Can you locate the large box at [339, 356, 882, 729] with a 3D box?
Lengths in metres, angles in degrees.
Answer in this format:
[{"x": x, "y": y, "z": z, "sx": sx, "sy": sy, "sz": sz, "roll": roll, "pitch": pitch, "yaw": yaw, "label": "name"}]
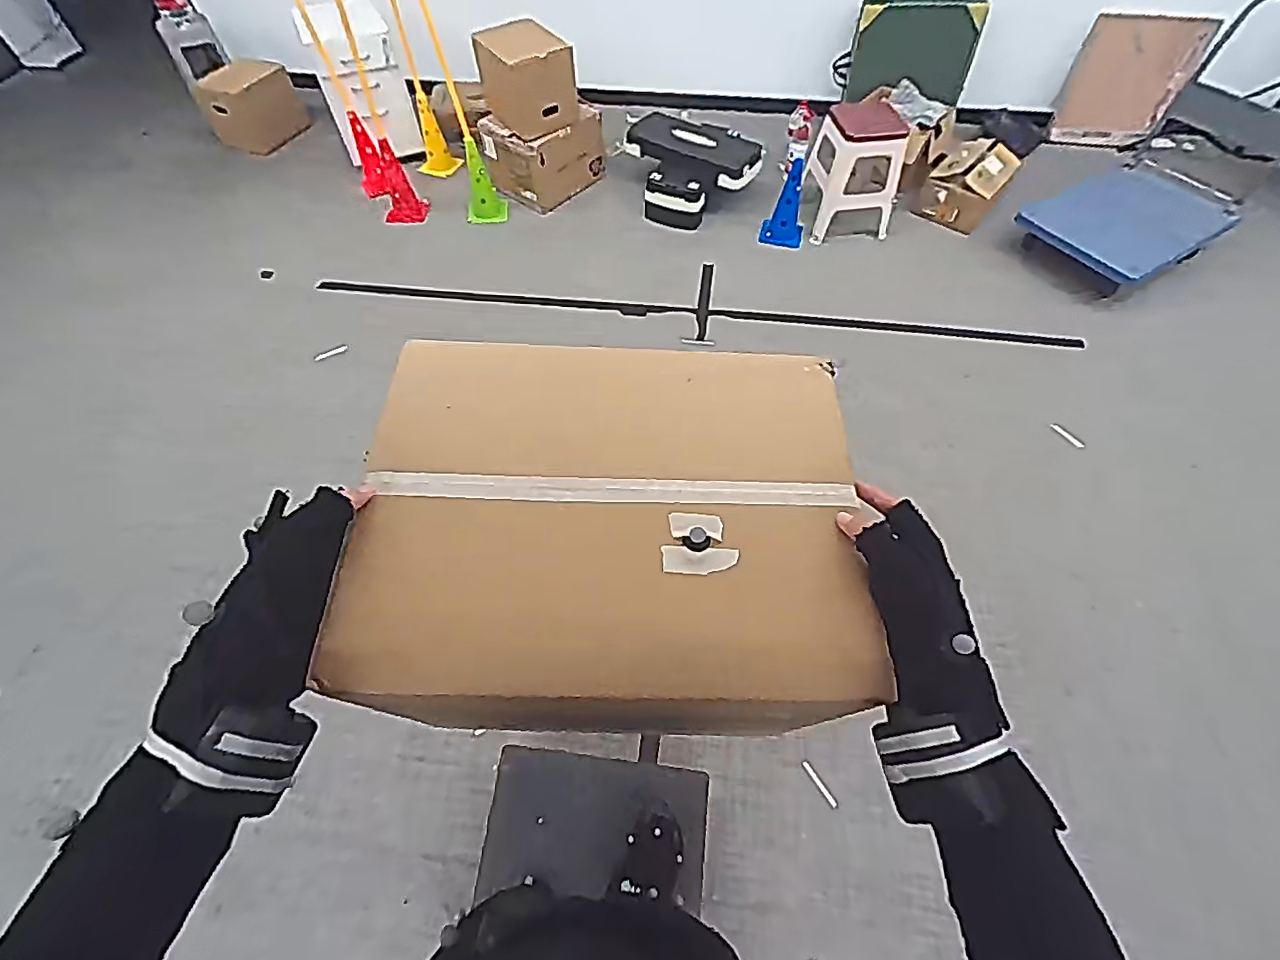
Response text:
[{"x": -0.026, "y": 0.089, "z": 0.591, "sx": 0.408, "sy": 0.320, "sz": 0.320, "roll": 2, "pitch": 61, "yaw": -2, "label": "large box"}]
